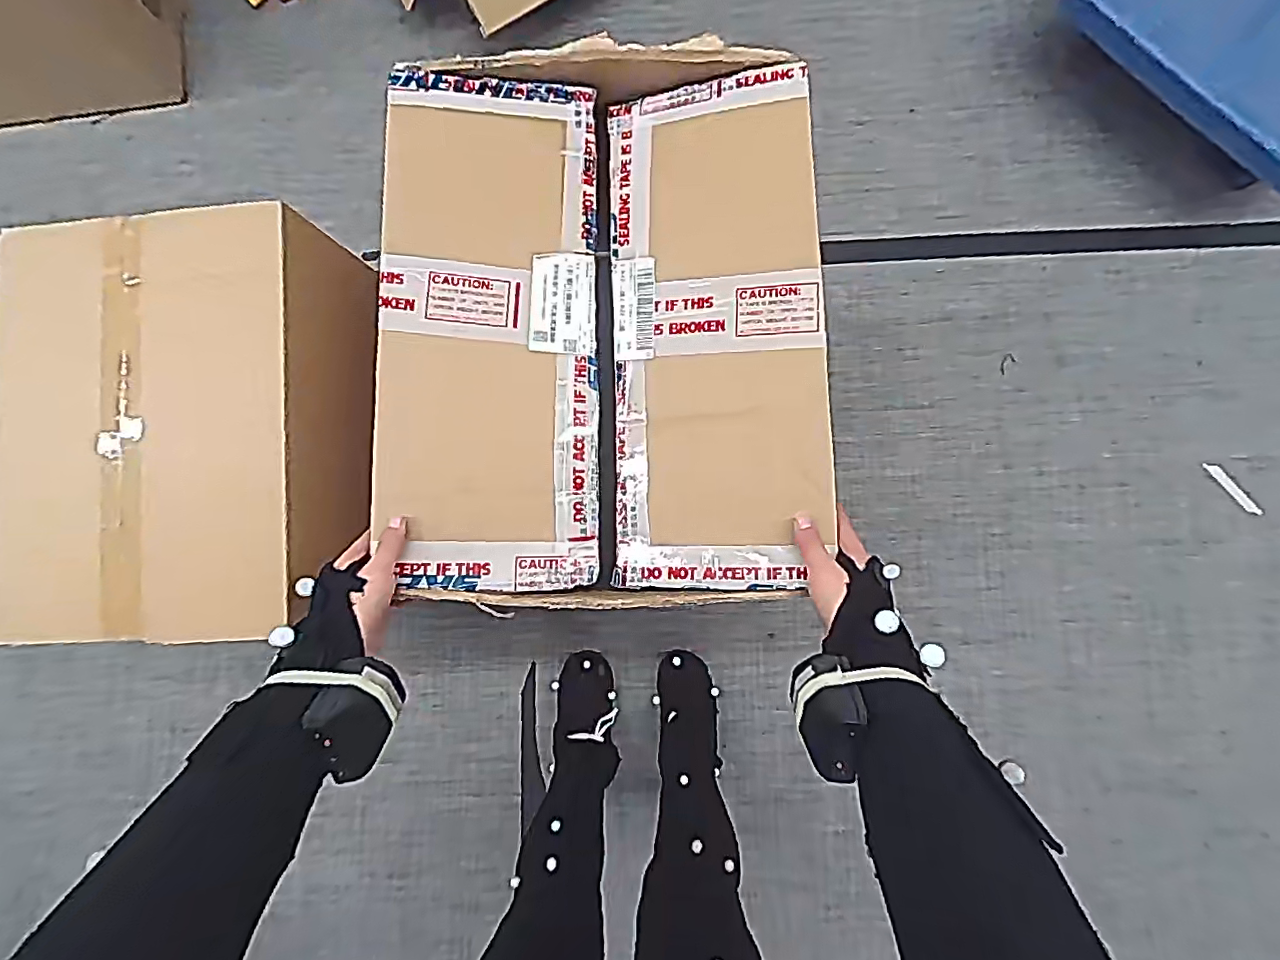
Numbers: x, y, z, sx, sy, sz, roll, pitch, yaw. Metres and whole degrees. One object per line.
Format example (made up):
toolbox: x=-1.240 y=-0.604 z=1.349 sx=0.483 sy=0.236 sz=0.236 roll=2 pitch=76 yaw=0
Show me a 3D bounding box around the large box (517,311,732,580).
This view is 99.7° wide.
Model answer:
large box: x=-0.025 y=-0.047 z=0.971 sx=0.320 sy=0.320 sz=0.408 roll=-3 pitch=86 yaw=2
